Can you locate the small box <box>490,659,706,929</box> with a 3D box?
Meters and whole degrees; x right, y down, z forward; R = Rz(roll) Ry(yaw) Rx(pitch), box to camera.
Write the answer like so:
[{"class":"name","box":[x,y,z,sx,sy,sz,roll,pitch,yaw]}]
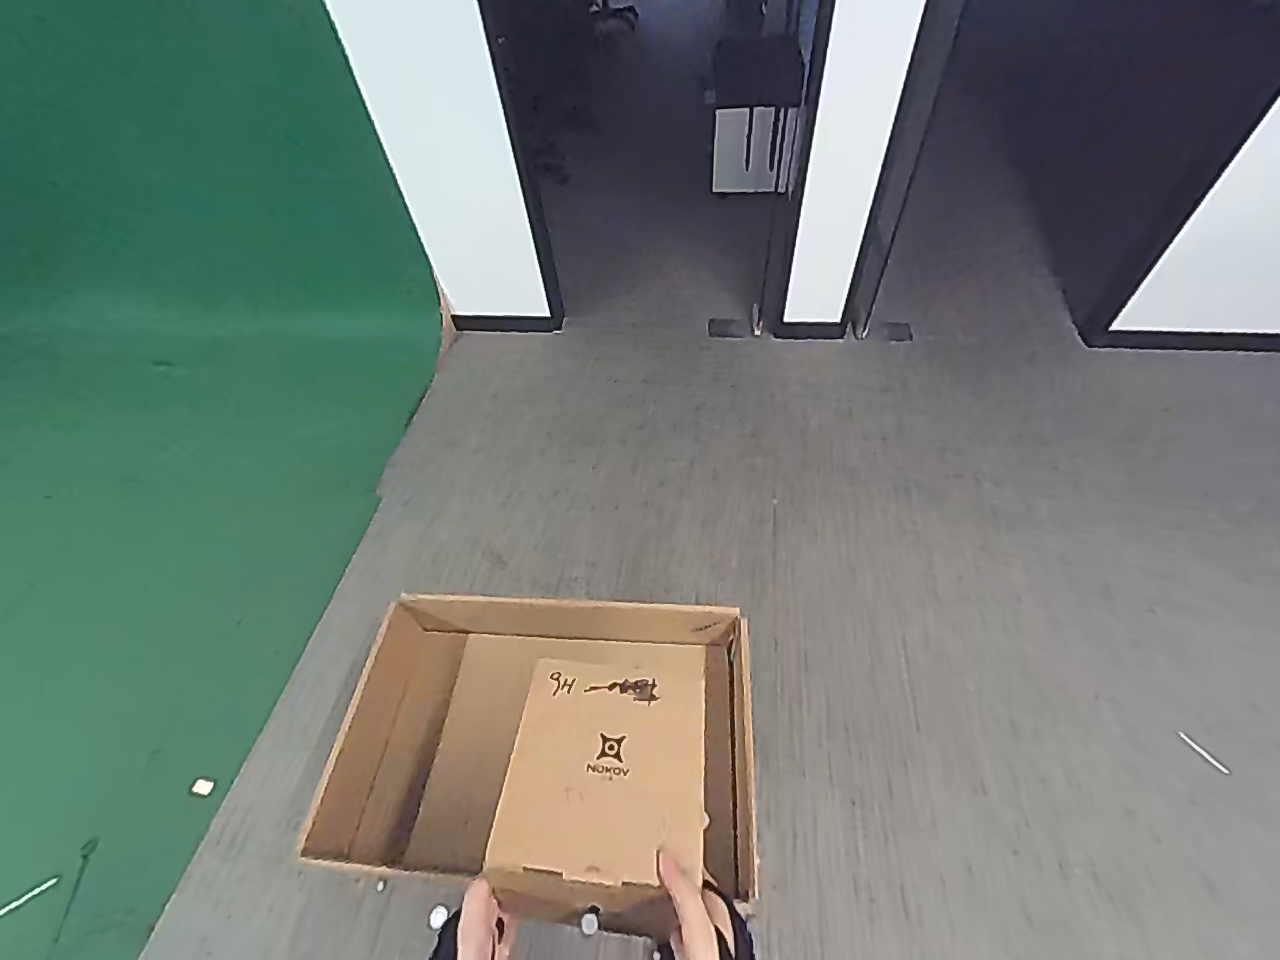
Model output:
[{"class":"small box","box":[-0.029,0.303,0.523,0.168,0.176,0.179,7,41,2]}]
